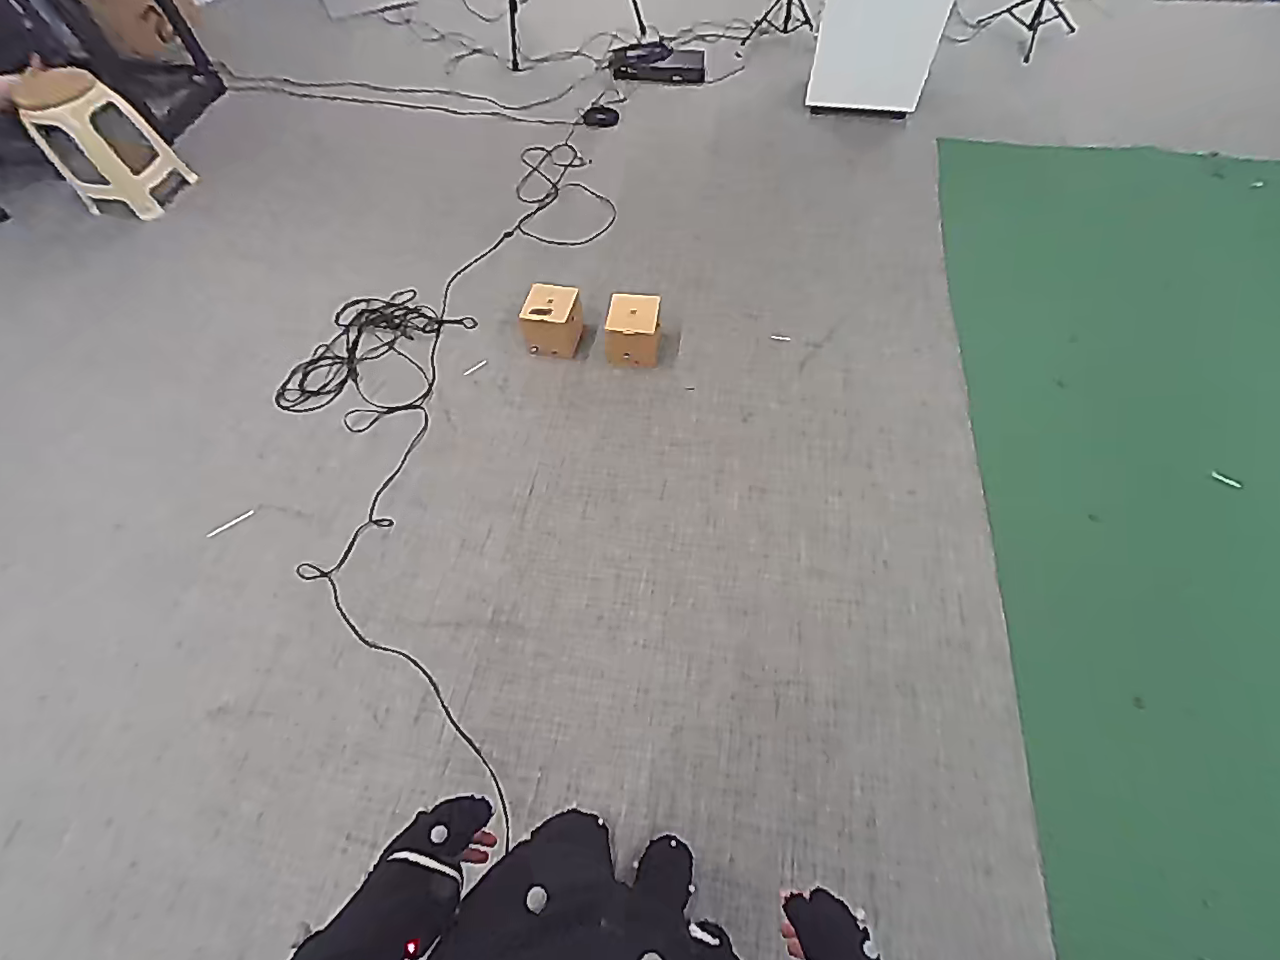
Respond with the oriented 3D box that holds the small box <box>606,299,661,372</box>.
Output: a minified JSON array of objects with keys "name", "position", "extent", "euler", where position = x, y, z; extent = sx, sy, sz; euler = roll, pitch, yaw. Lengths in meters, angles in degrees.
[{"name":"small box","position":[-0.020,-0.500,1.878],"extent":[0.168,0.176,0.179],"euler":[5,61,6]}]

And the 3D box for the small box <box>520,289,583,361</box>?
[{"name":"small box","position":[-0.305,-0.546,1.914],"extent":[0.168,0.176,0.179],"euler":[10,60,8]}]
